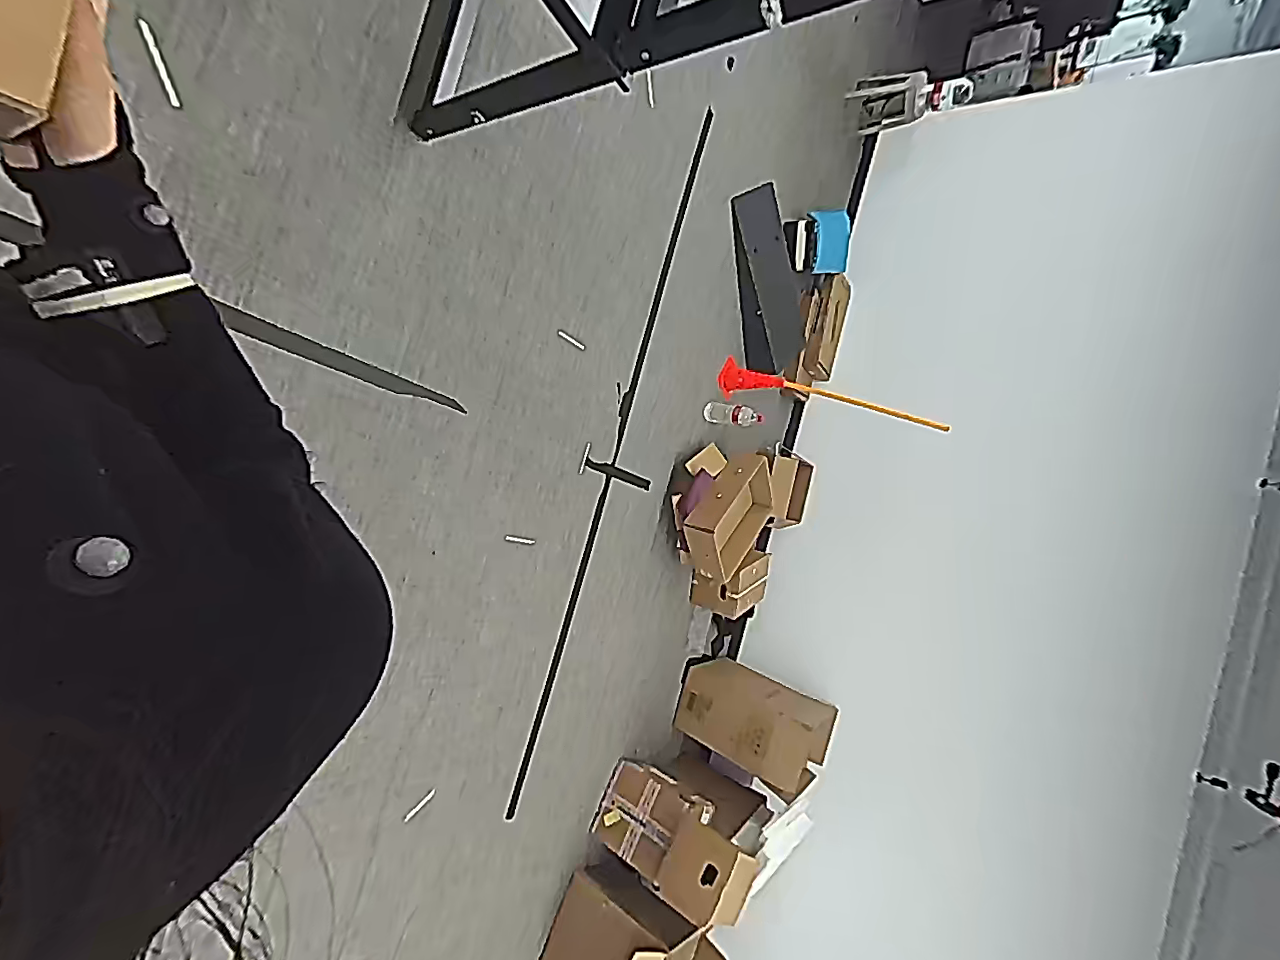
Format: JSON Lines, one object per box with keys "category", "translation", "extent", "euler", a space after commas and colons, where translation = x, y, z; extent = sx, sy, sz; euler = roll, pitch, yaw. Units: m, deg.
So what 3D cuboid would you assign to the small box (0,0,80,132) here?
{"category": "small box", "translation": [-0.321, -0.259, 0.194], "extent": [0.168, 0.176, 0.179], "euler": [11, 98, -56]}
